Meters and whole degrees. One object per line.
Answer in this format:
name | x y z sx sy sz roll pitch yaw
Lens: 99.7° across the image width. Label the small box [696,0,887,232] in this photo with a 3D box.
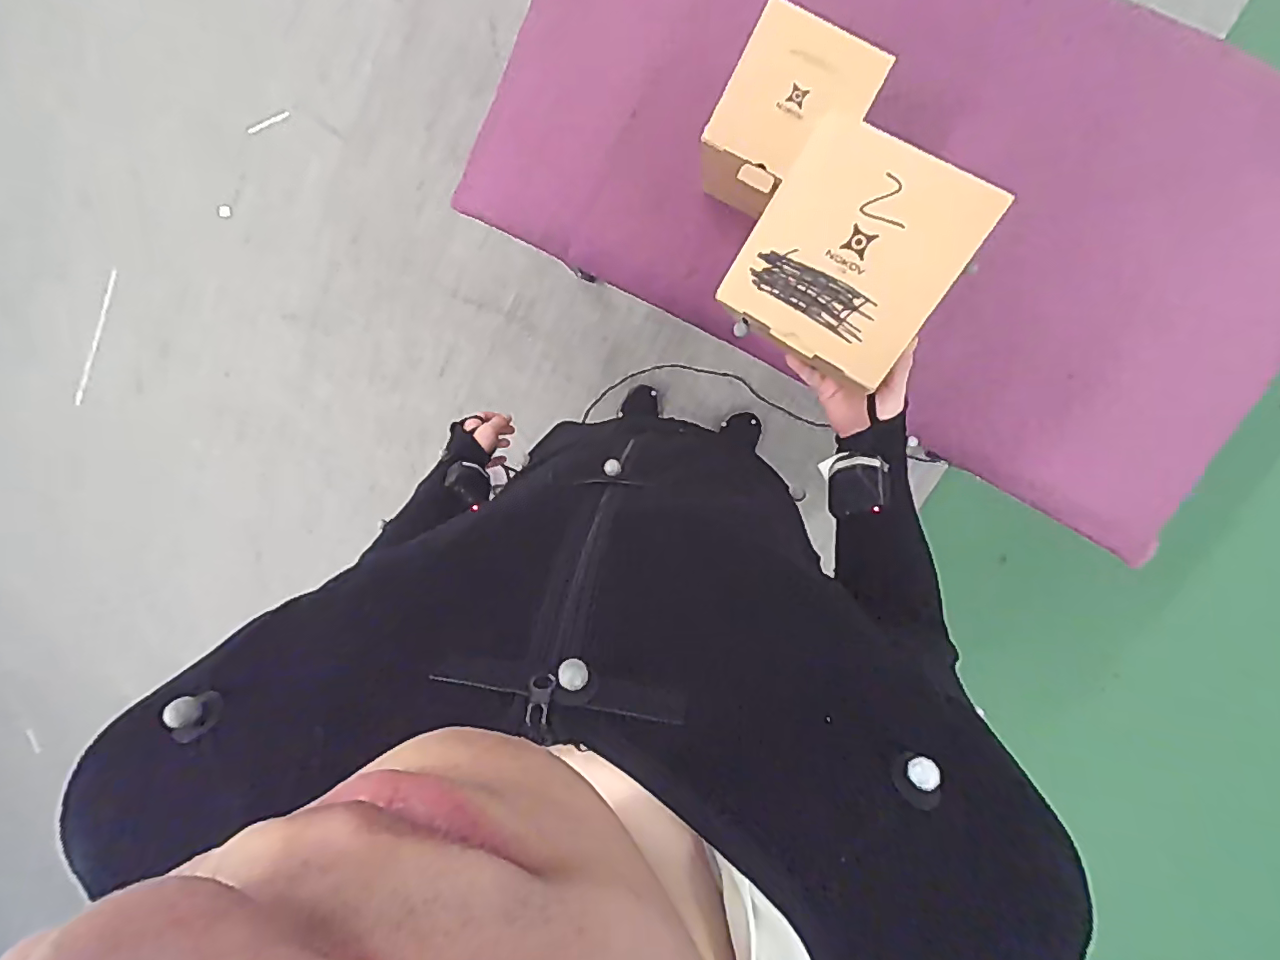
small box | 0.188 -0.465 0.723 0.168 0.176 0.179 29 100 0
